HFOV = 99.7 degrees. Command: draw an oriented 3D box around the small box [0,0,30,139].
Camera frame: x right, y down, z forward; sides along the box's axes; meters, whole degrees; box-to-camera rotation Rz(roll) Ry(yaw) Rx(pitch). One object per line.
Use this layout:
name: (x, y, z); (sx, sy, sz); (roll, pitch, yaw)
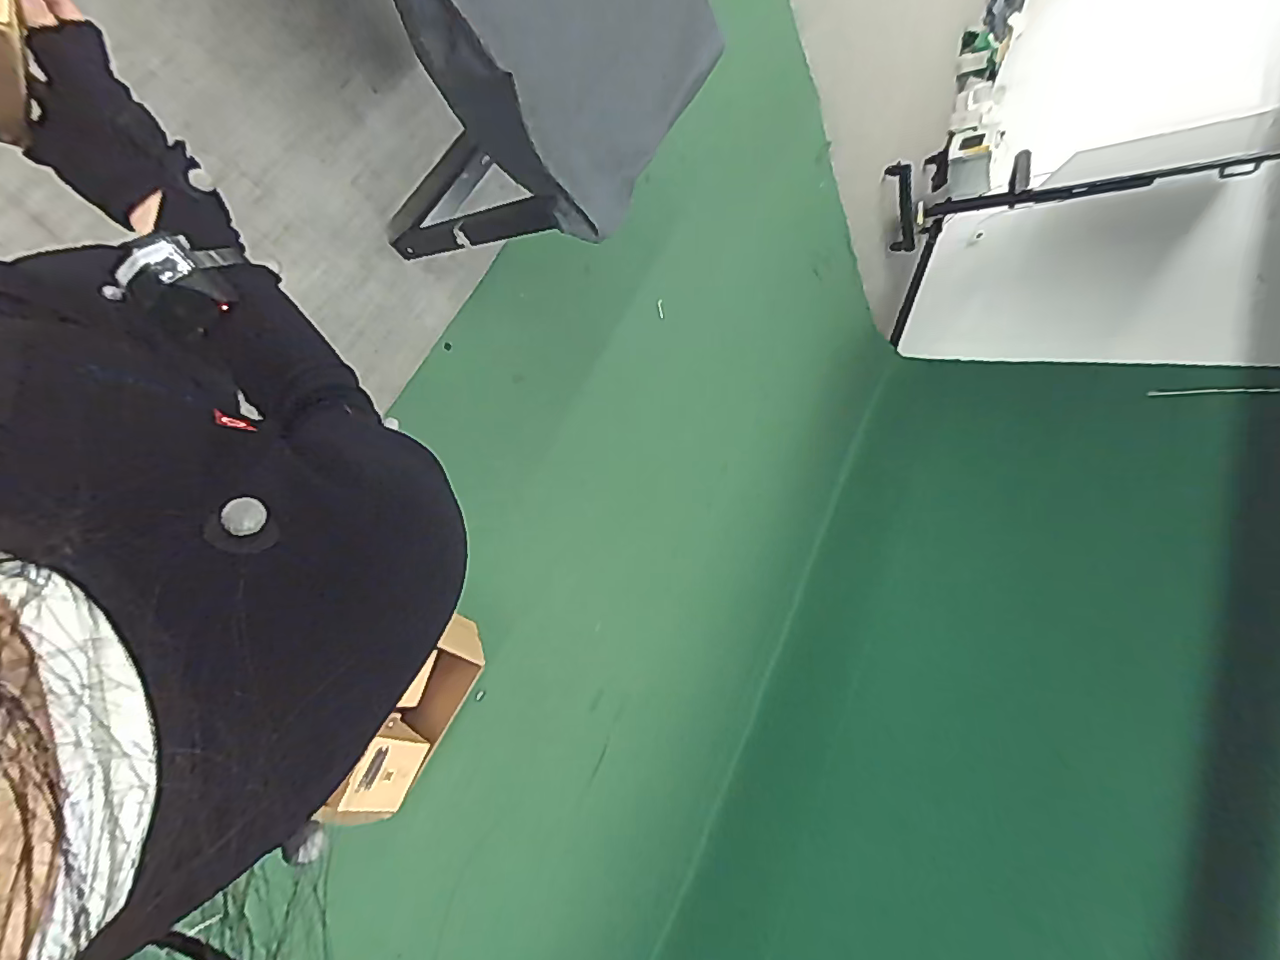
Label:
small box: (-0.468, -0.335, 0.298); (0.168, 0.176, 0.179); (-4, 97, -46)
